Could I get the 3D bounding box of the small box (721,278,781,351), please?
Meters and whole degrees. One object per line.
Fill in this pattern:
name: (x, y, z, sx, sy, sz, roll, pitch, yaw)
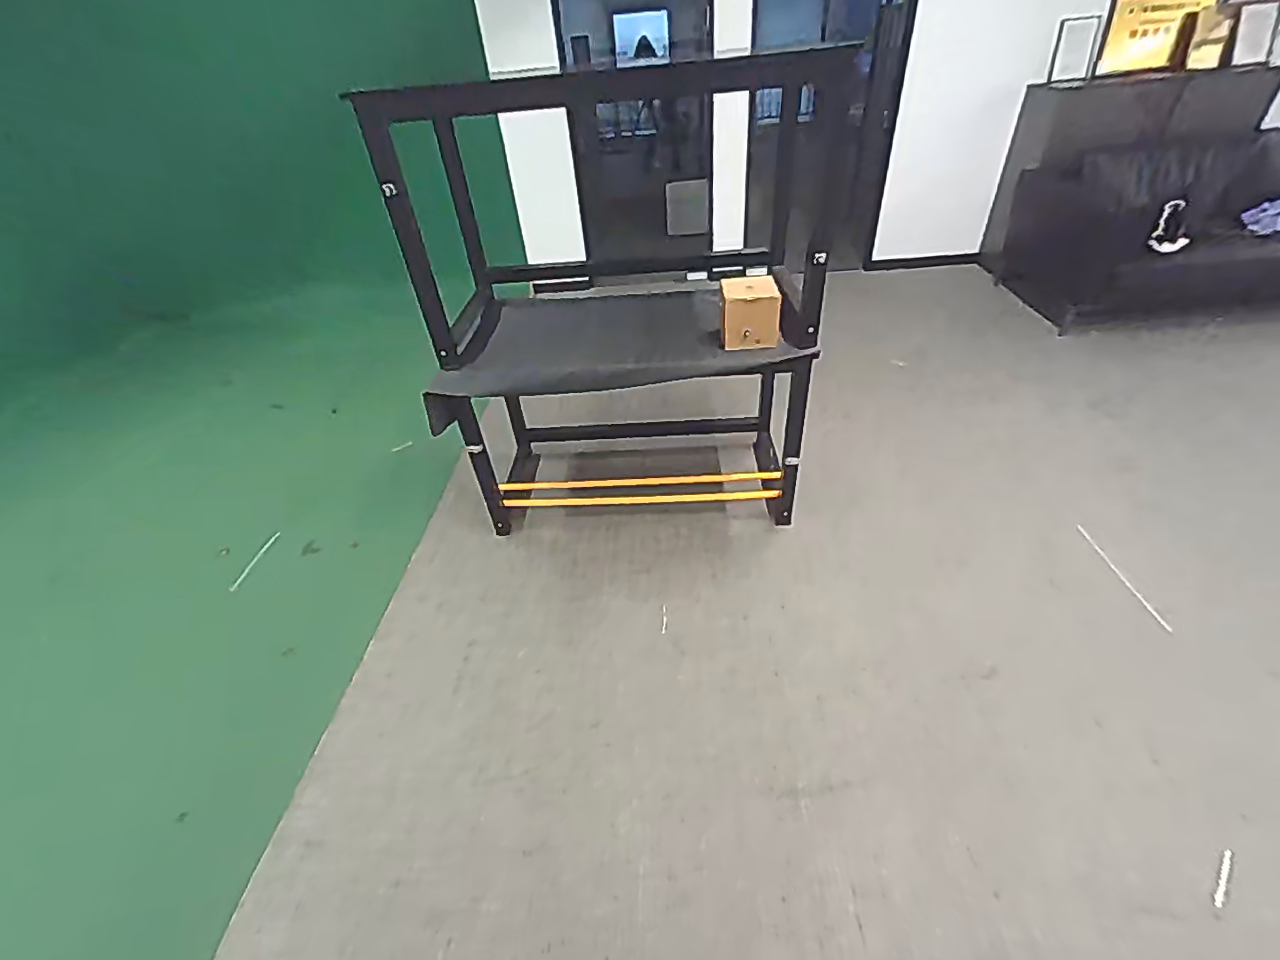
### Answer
small box: (0.346, -0.525, 1.714, 0.168, 0.176, 0.179, -3, 39, 4)
